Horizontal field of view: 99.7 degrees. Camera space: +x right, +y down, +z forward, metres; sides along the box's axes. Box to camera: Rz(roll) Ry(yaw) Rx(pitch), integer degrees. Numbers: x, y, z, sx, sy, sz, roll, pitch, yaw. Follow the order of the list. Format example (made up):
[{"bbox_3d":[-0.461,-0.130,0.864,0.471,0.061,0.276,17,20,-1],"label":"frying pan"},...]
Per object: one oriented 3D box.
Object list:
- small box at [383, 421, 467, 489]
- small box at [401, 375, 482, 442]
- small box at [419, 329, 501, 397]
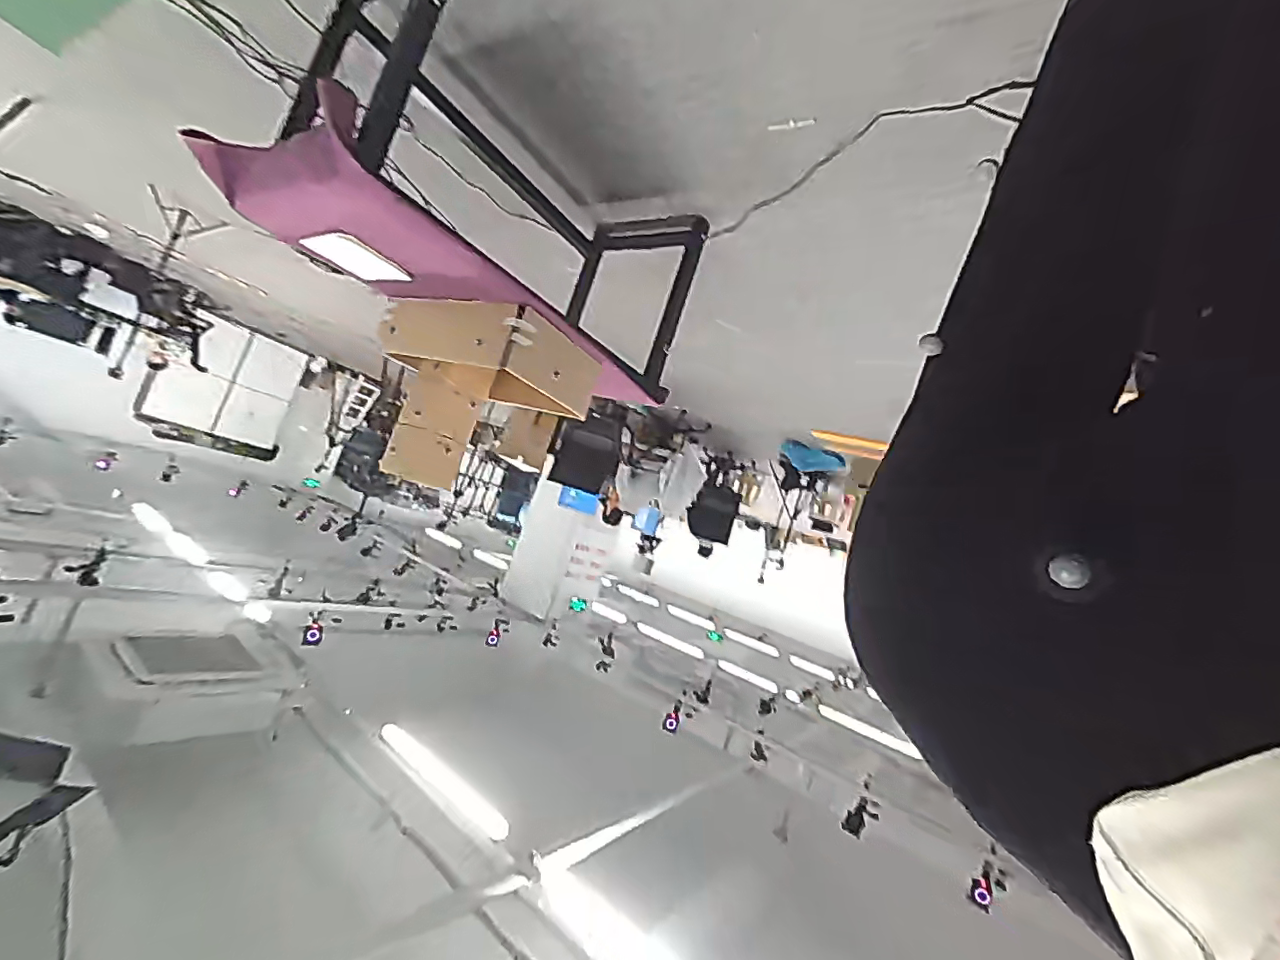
[{"bbox_3d":[-0.698,-0.084,1.767,0.179,0.176,0.168,12,172,35],"label":"small box"},{"bbox_3d":[-0.649,-0.238,1.787,0.179,0.176,0.168,14,172,36],"label":"small box"},{"bbox_3d":[-0.594,-0.392,1.801,0.179,0.176,0.168,12,172,35],"label":"small box"}]
